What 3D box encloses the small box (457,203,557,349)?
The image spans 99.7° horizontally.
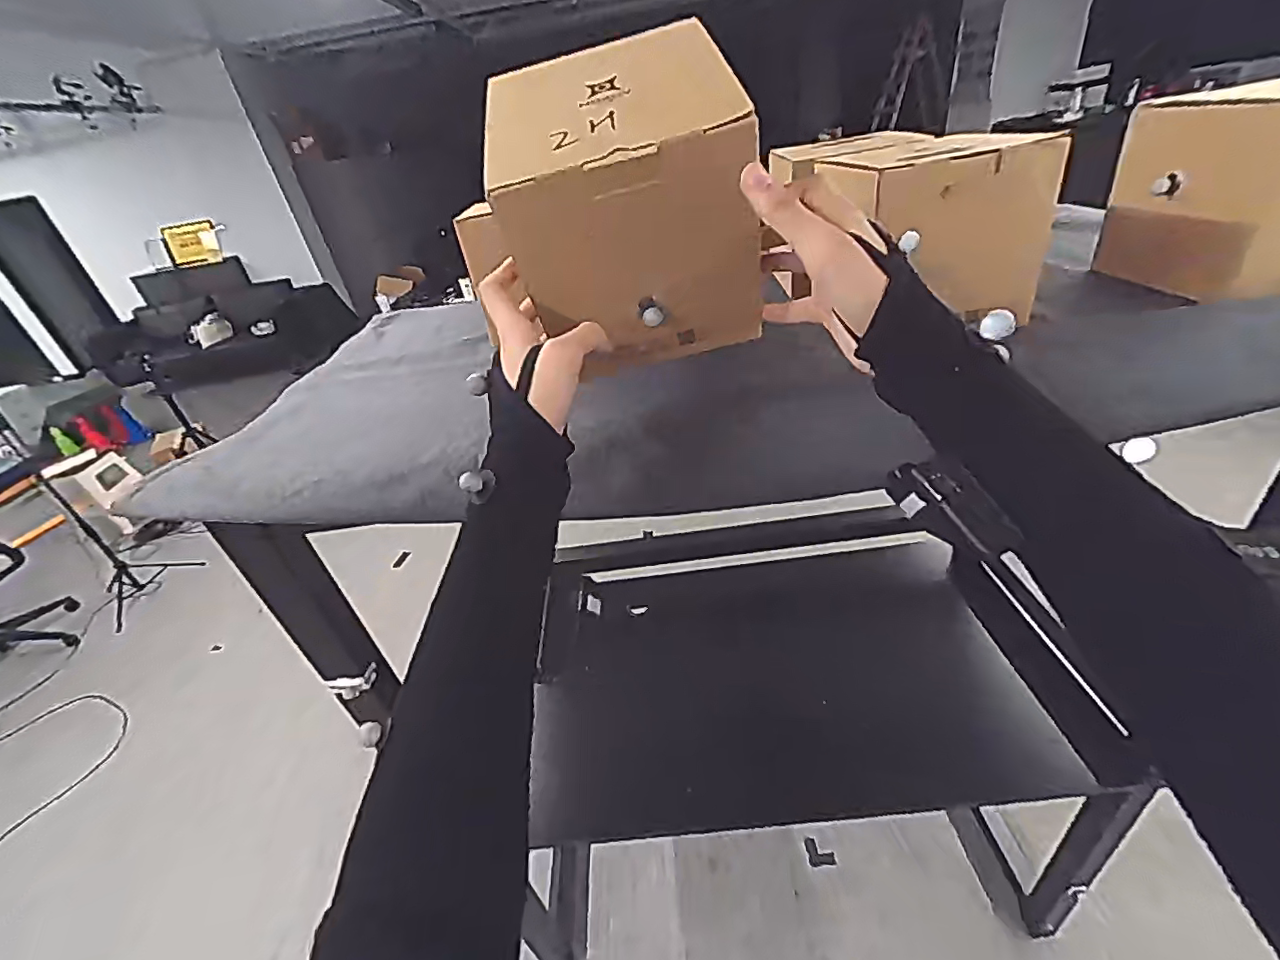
[{"bbox_3d":[-0.138,-0.305,0.779,0.179,0.176,0.168,-9,33,0],"label":"small box"}]

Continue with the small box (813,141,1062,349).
[{"bbox_3d":[0.294,-0.249,0.581,0.168,0.176,0.179,-9,32,2],"label":"small box"}]

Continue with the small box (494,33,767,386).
[{"bbox_3d":[-0.003,-0.204,0.427,0.168,0.176,0.179,-13,56,5],"label":"small box"}]

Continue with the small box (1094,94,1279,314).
[{"bbox_3d":[0.609,-0.276,0.536,0.168,0.176,0.179,-9,32,3],"label":"small box"}]
